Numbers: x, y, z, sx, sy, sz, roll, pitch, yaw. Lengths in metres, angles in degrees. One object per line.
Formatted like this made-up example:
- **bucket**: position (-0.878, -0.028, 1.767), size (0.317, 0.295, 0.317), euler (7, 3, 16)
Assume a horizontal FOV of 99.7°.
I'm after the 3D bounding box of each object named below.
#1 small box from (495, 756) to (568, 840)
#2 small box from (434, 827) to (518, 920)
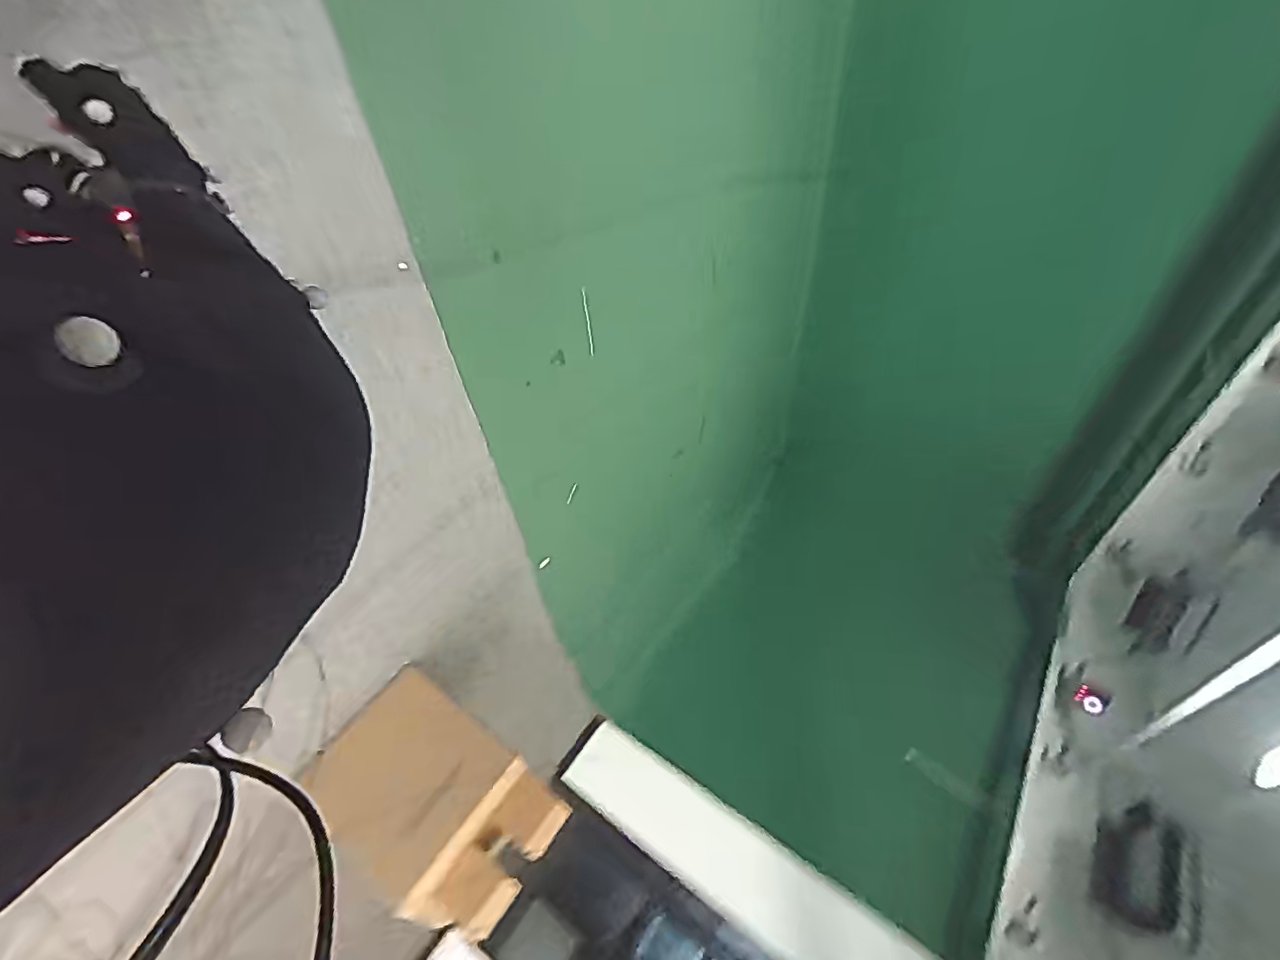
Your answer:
- **small box**: position (-0.391, 1.125, 1.918), size (0.179, 0.176, 0.168), euler (-50, 147, -30)
- **small box**: position (-0.539, 1.294, 1.784), size (0.179, 0.176, 0.168), euler (-48, 144, -32)
